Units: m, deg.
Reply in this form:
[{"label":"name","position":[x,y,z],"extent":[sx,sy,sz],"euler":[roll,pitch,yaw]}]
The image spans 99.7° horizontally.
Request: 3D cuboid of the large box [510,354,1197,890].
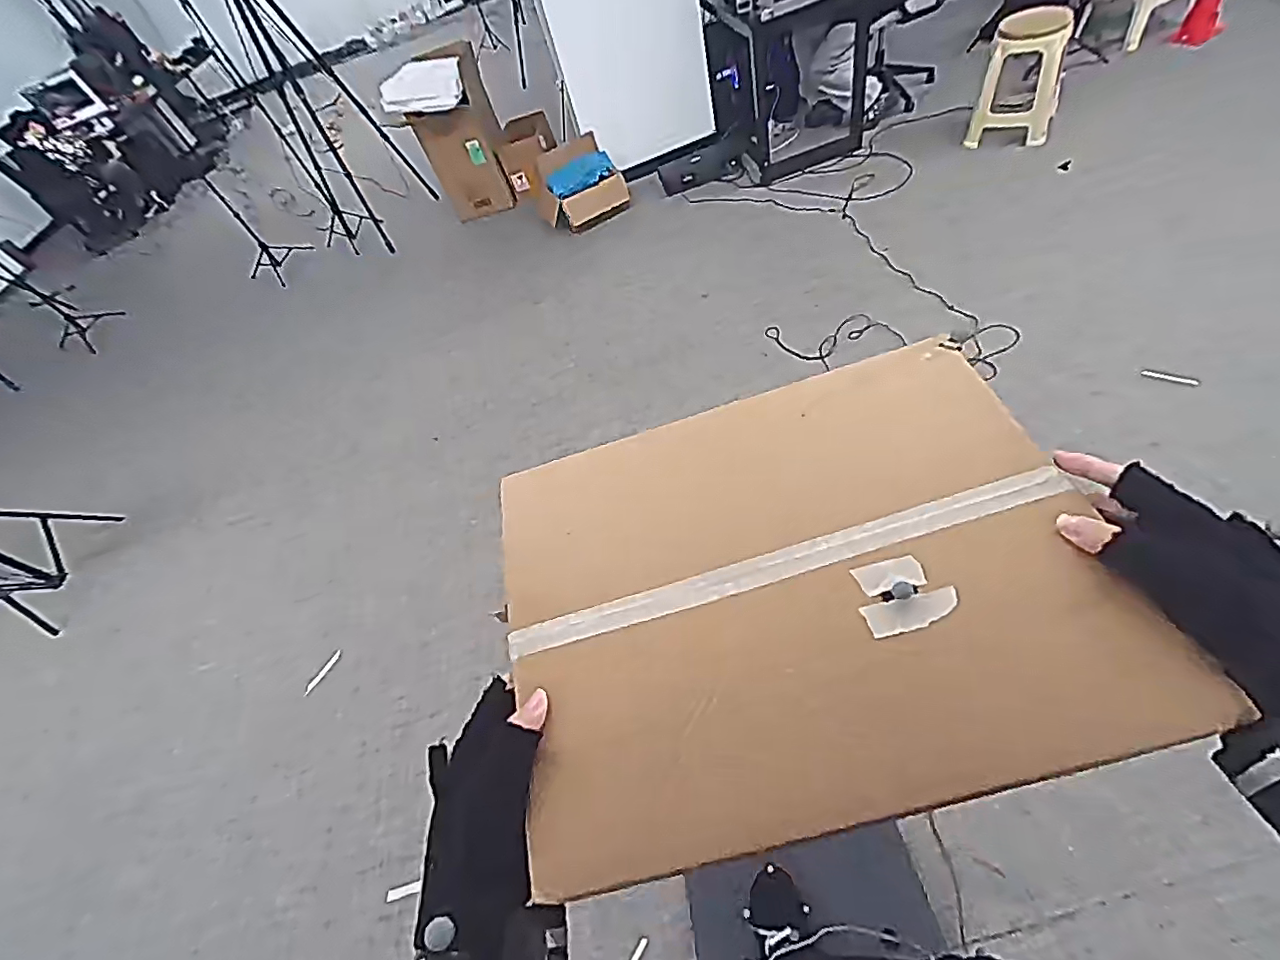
[{"label":"large box","position":[0.132,0.148,0.524],"extent":[0.408,0.320,0.320],"euler":[-18,55,4]}]
